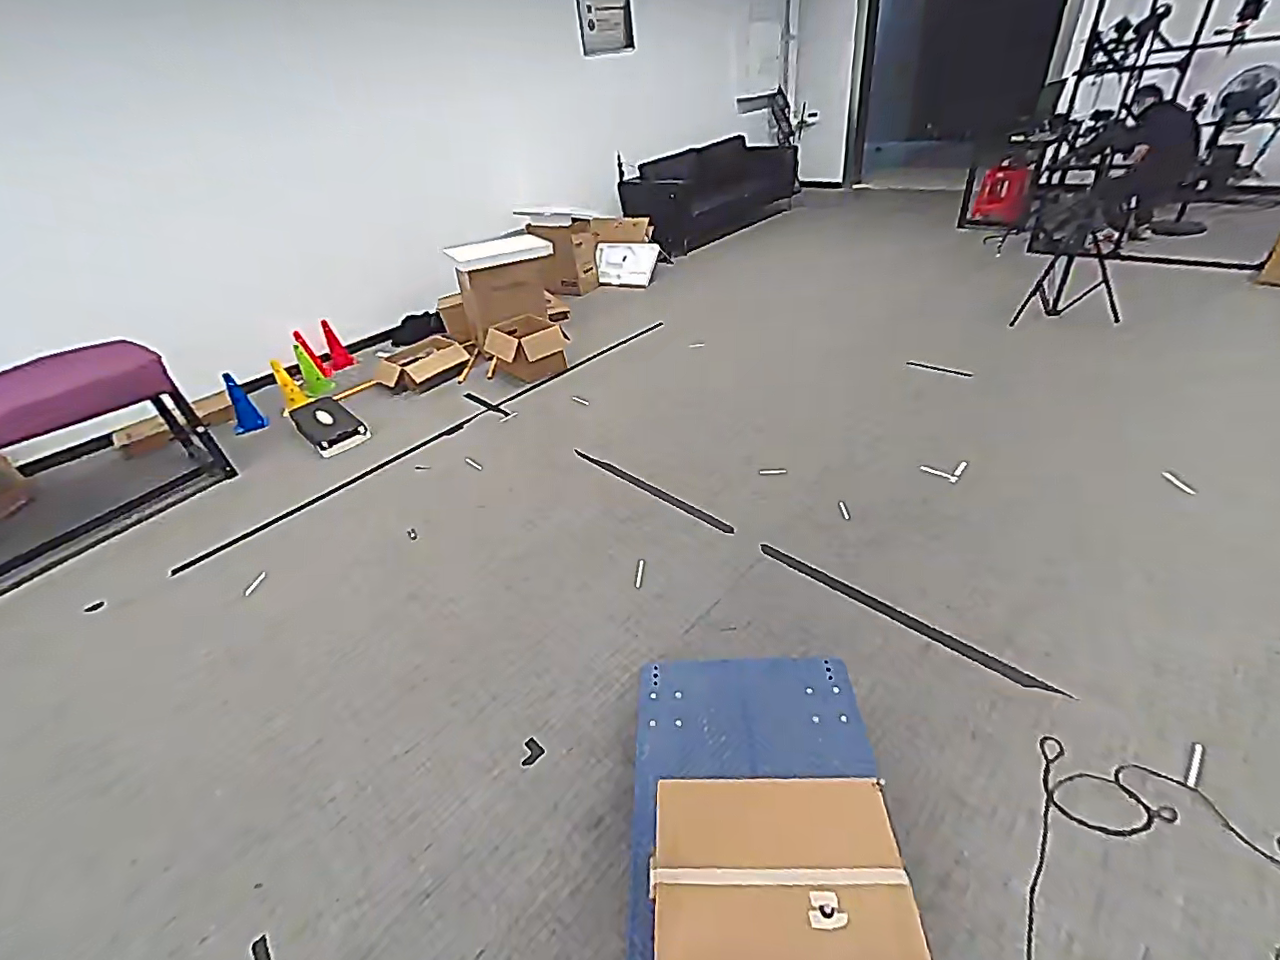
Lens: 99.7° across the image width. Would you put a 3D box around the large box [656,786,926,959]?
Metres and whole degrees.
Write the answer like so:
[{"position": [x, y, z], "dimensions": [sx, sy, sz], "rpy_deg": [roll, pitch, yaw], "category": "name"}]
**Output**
[{"position": [0.238, 0.779, 0.965], "dimensions": [0.408, 0.320, 0.320], "rpy_deg": [-3, 37, 5], "category": "large box"}]
